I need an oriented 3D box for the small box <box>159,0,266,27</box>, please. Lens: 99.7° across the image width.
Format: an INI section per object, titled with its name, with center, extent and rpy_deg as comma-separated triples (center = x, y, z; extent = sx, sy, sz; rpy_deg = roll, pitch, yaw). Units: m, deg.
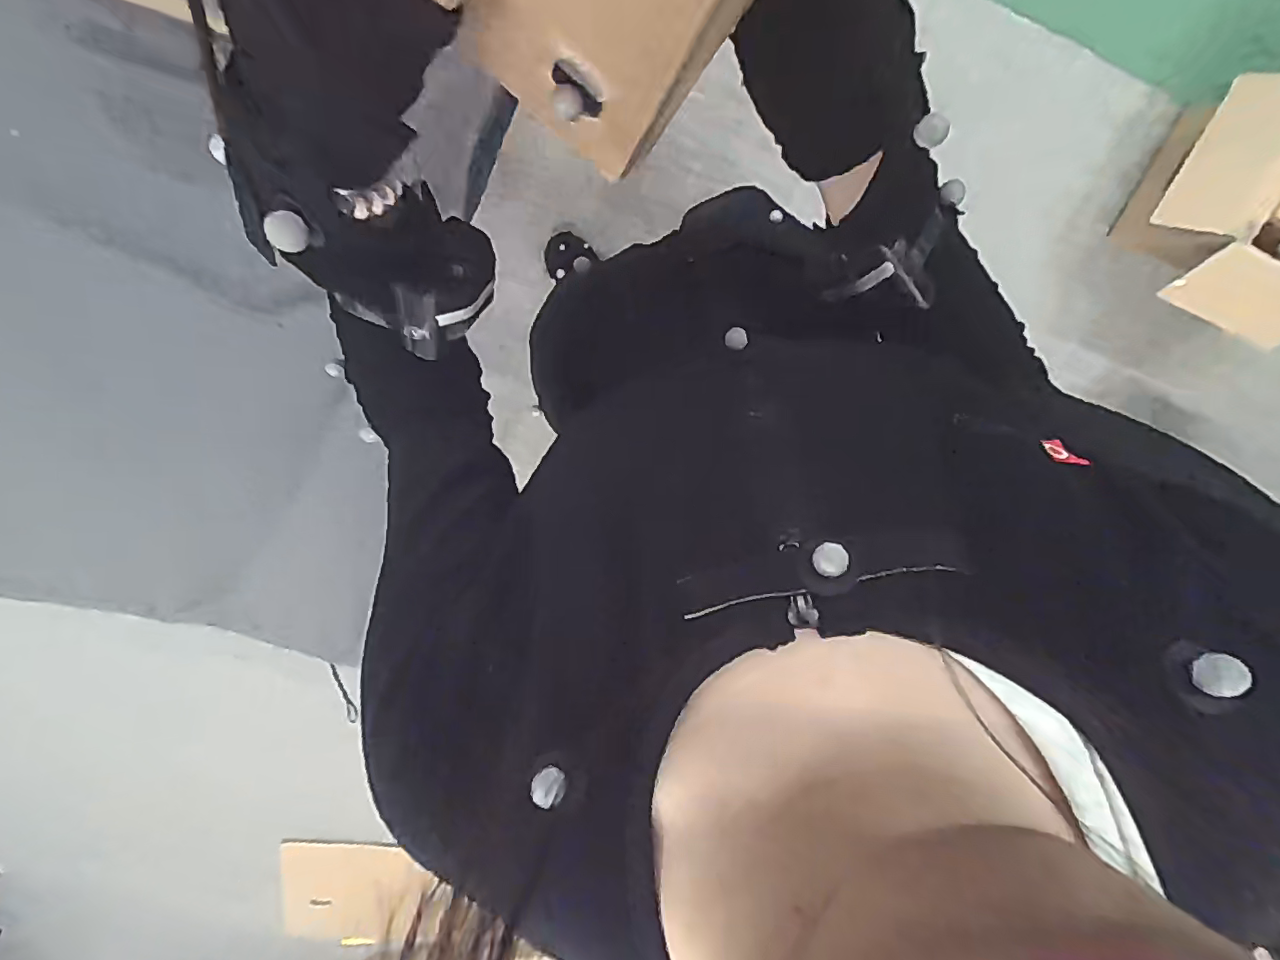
[small box]
center = -0.408, -0.477, 0.393
extent = 0.179, 0.176, 0.168
rpy_deg = 13, 113, -12
